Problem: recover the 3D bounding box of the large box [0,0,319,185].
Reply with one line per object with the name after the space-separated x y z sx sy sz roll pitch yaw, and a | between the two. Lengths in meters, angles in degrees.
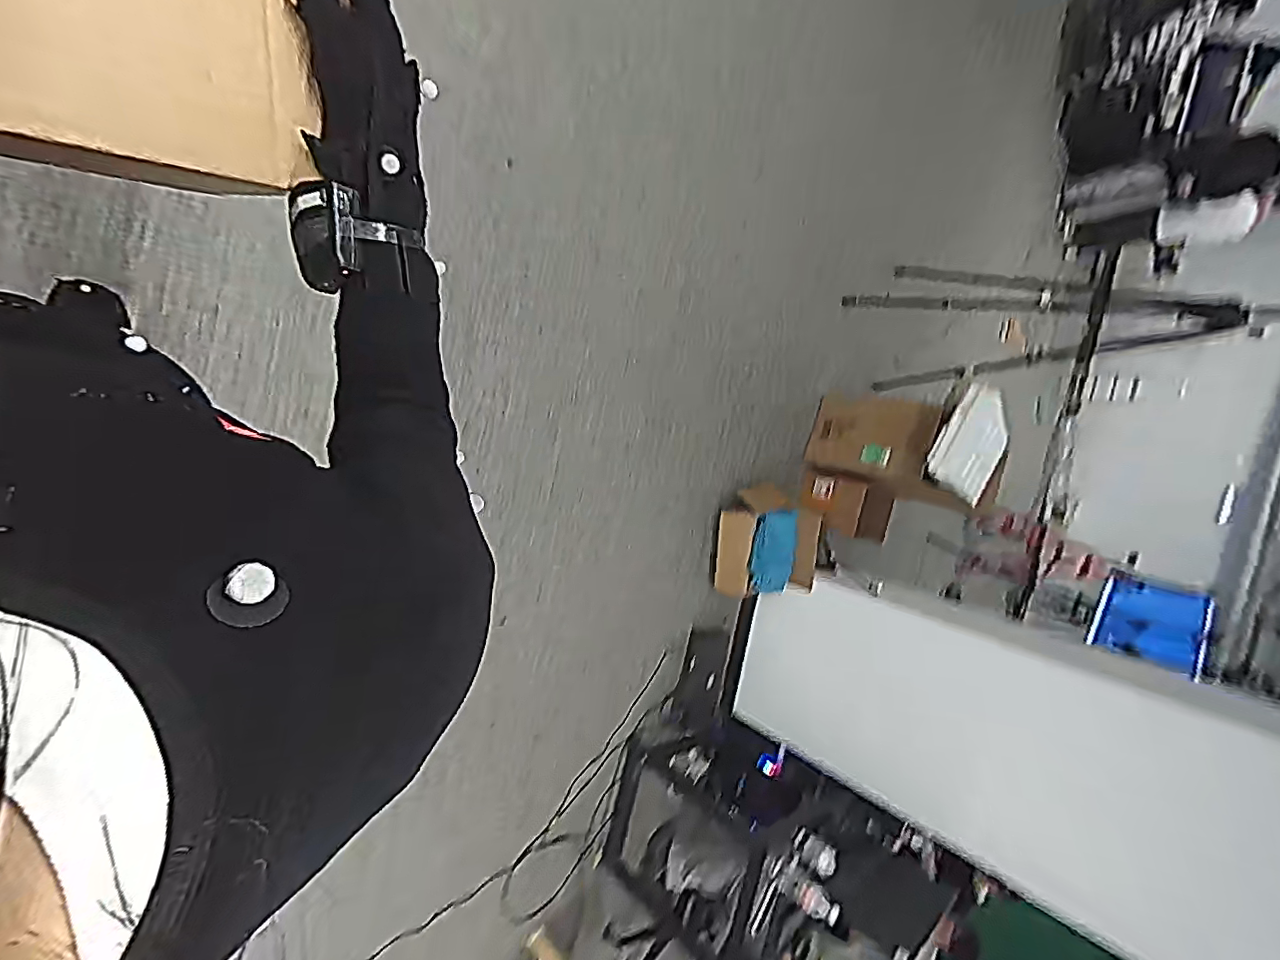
-0.468 -0.376 0.304 0.408 0.320 0.320 -15 121 -47 | large box
